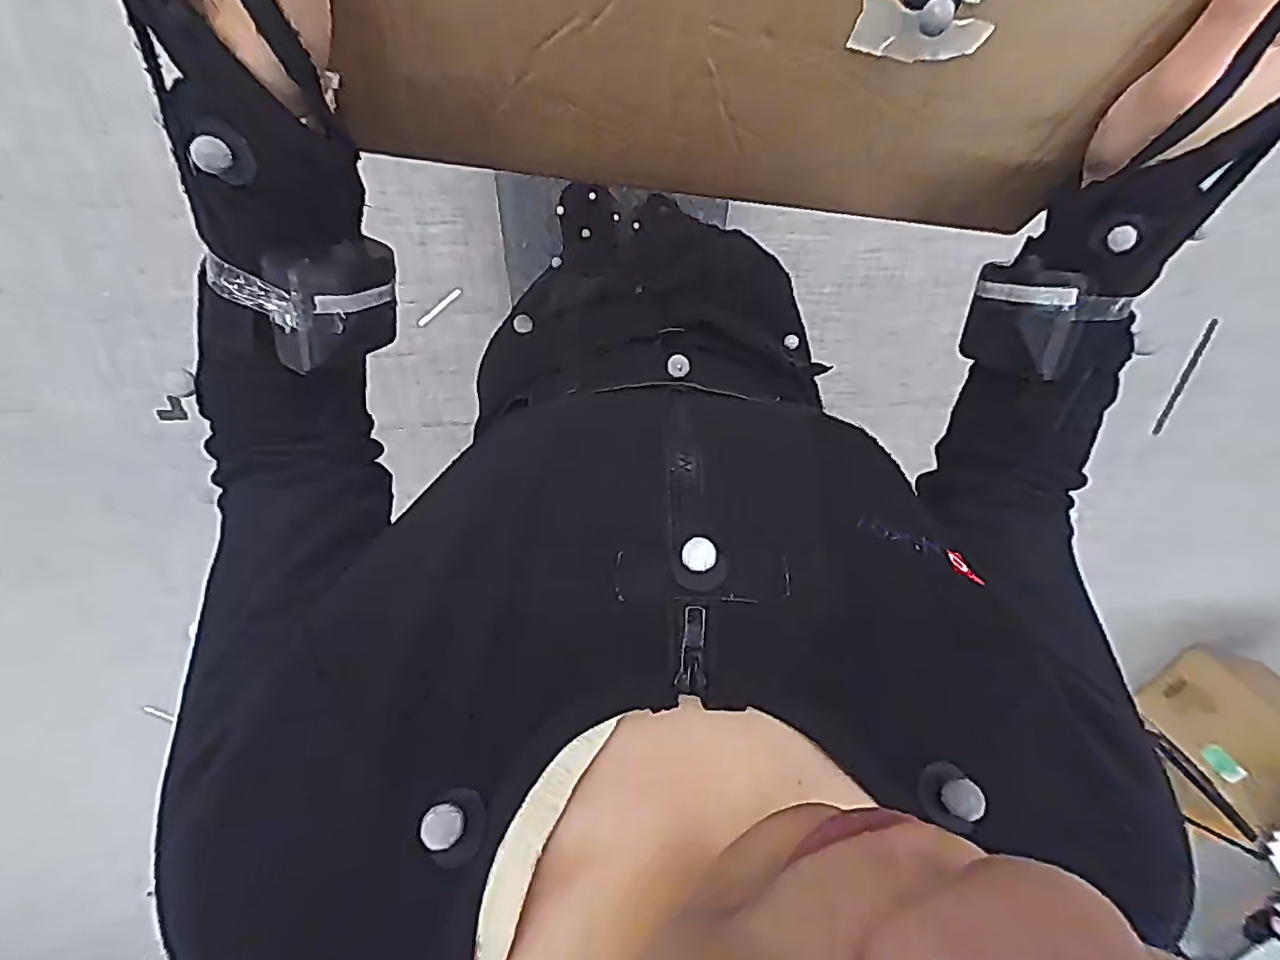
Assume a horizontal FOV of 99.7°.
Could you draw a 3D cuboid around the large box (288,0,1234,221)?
[{"bbox_3d":[0.055,-0.361,0.229,0.408,0.320,0.320,1,162,-9],"label":"large box"}]
